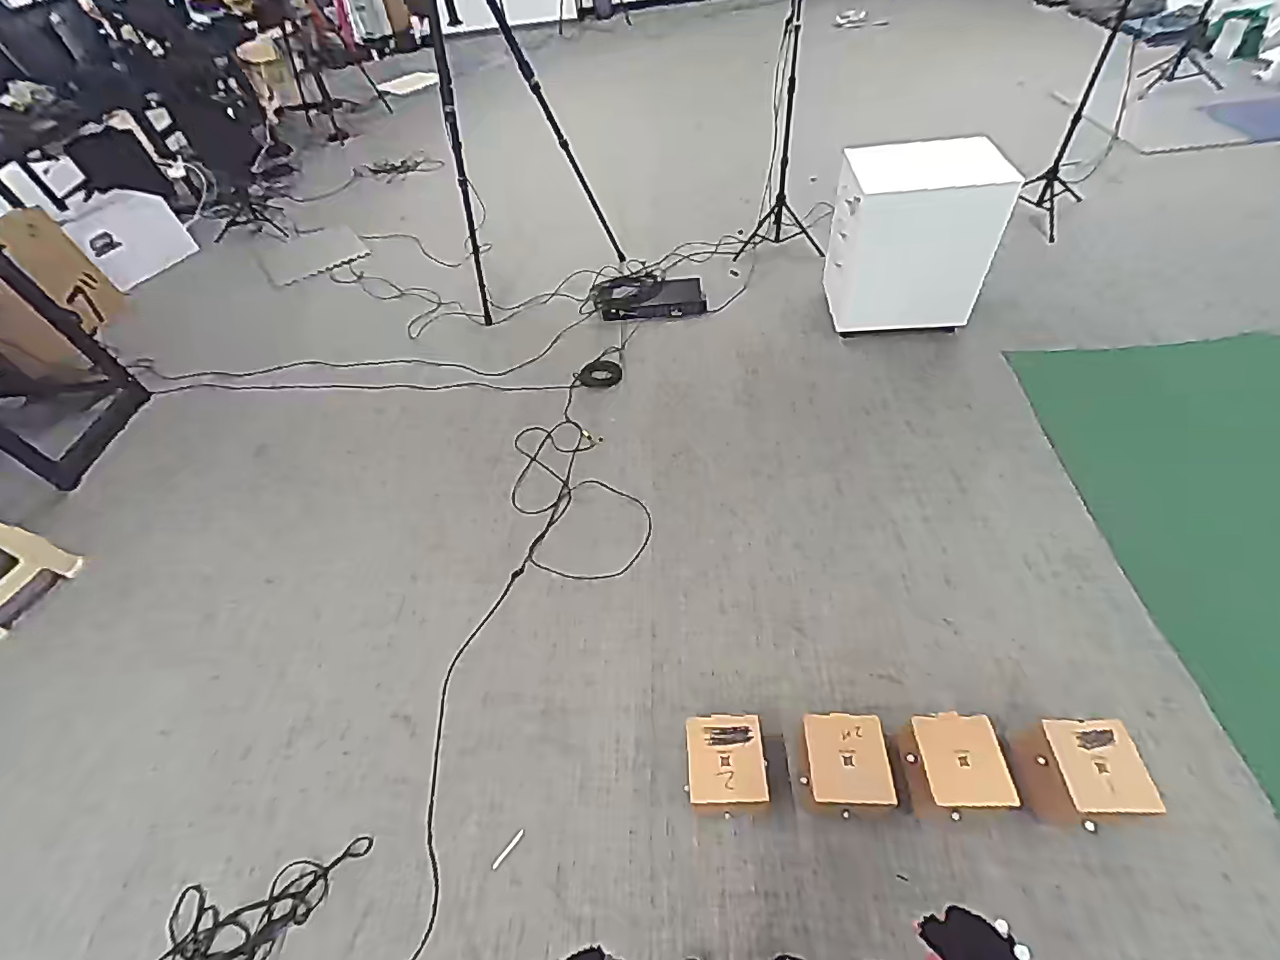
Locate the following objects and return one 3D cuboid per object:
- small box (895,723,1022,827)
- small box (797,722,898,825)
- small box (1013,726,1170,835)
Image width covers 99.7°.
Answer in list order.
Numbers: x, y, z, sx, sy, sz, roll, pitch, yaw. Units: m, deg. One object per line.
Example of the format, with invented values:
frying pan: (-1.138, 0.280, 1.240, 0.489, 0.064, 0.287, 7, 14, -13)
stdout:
small box: (0.683, 0.649, 1.184, 0.168, 0.176, 0.179, -3, 49, 4)
small box: (0.452, 0.656, 1.205, 0.168, 0.176, 0.179, -1, 50, 5)
small box: (0.945, 0.642, 1.155, 0.168, 0.176, 0.179, -3, 51, 5)
